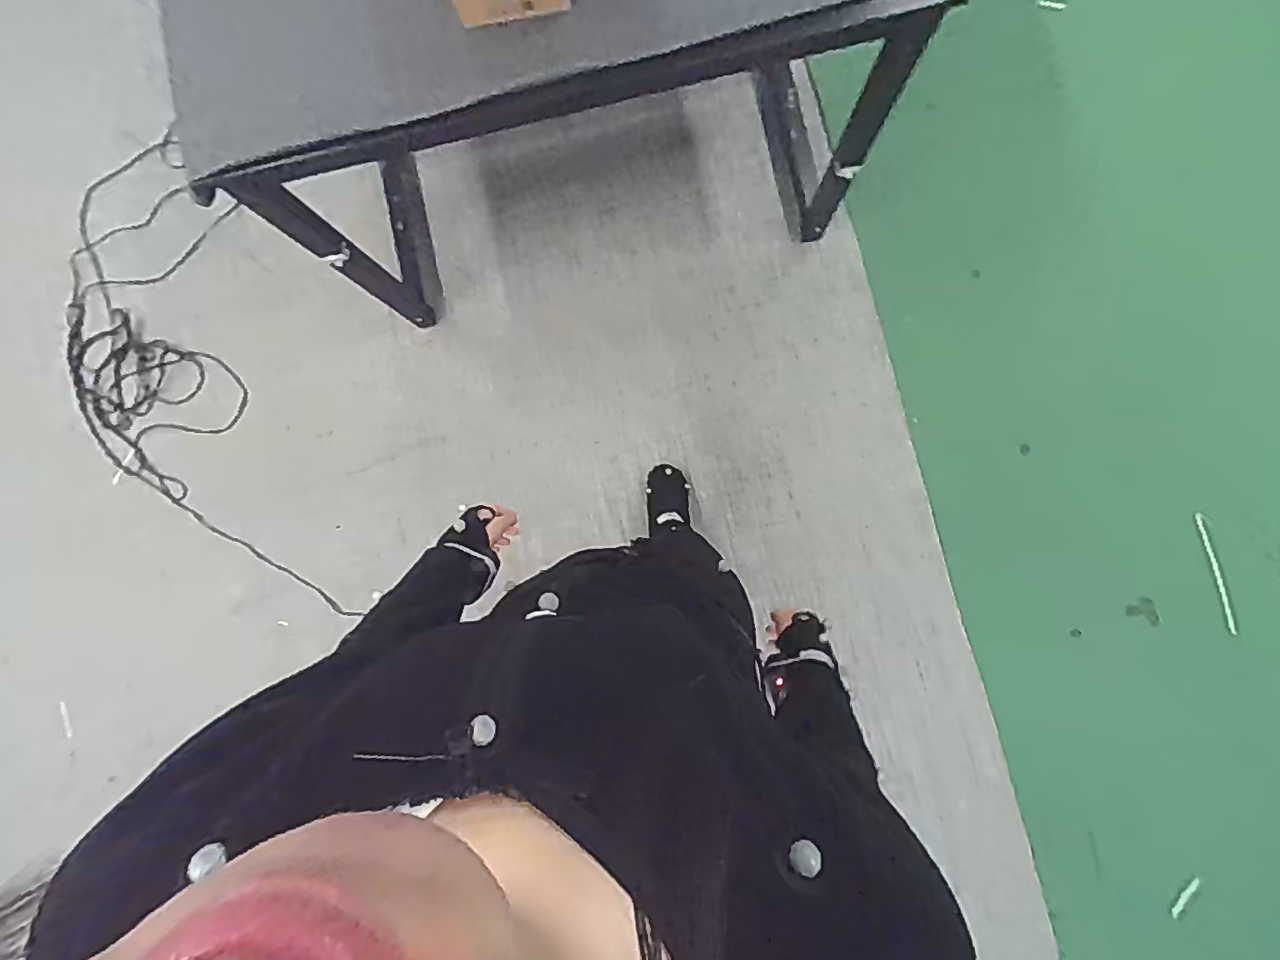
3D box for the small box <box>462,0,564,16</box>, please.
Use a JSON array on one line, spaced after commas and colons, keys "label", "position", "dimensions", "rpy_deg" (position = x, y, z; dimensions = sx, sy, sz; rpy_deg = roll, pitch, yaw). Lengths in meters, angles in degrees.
[{"label": "small box", "position": [-0.195, -0.790, 0.729], "dimensions": [0.168, 0.176, 0.179], "rpy_deg": [-7, 86, 3]}]
